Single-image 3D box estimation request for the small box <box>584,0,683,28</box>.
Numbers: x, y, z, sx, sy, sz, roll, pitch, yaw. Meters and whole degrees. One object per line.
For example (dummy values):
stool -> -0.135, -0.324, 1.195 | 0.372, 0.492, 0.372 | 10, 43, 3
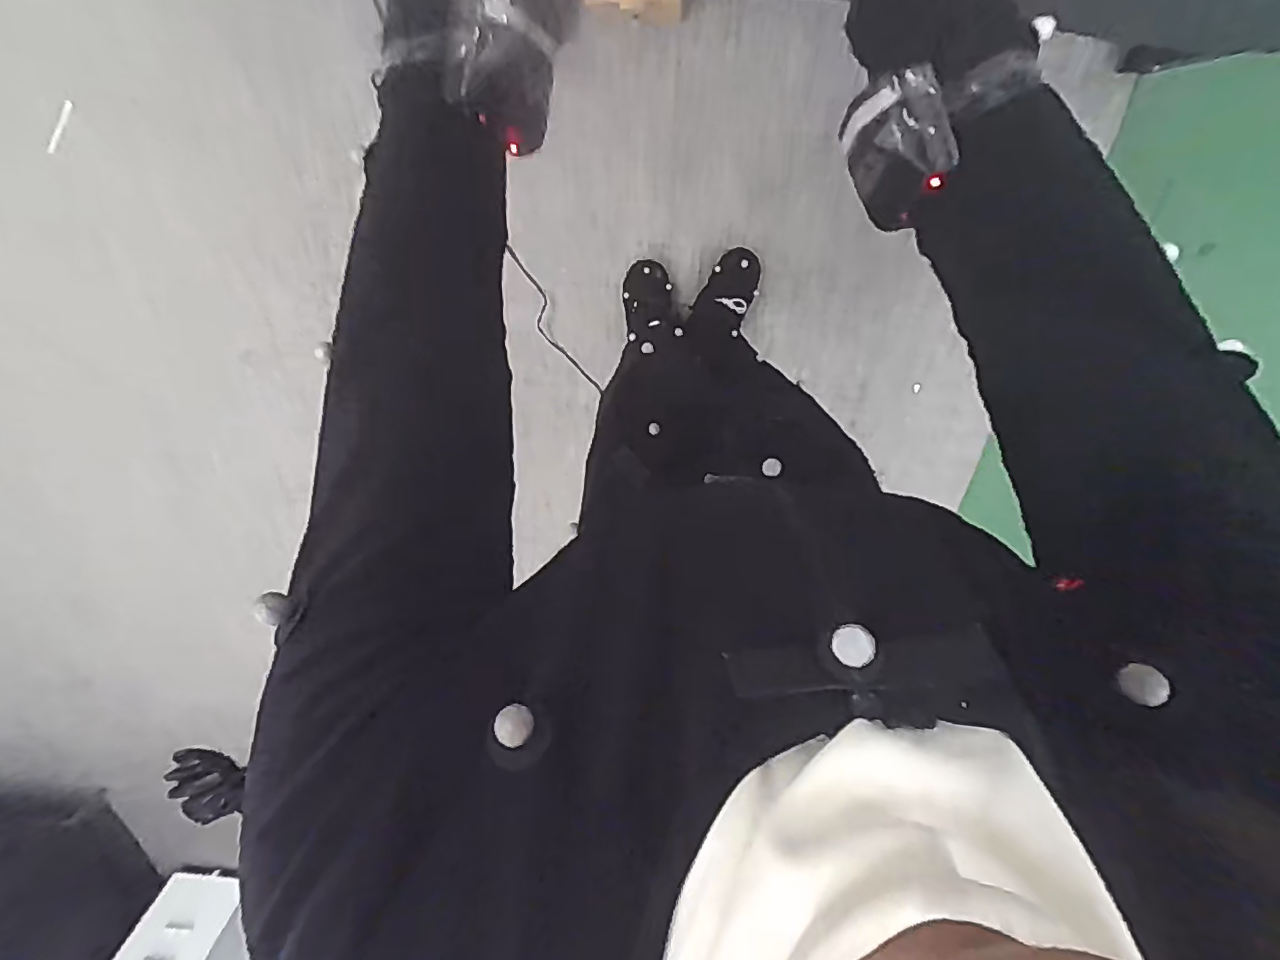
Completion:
small box -> -0.006, -0.905, 0.934 | 0.168, 0.176, 0.179 | 2, 120, 3
